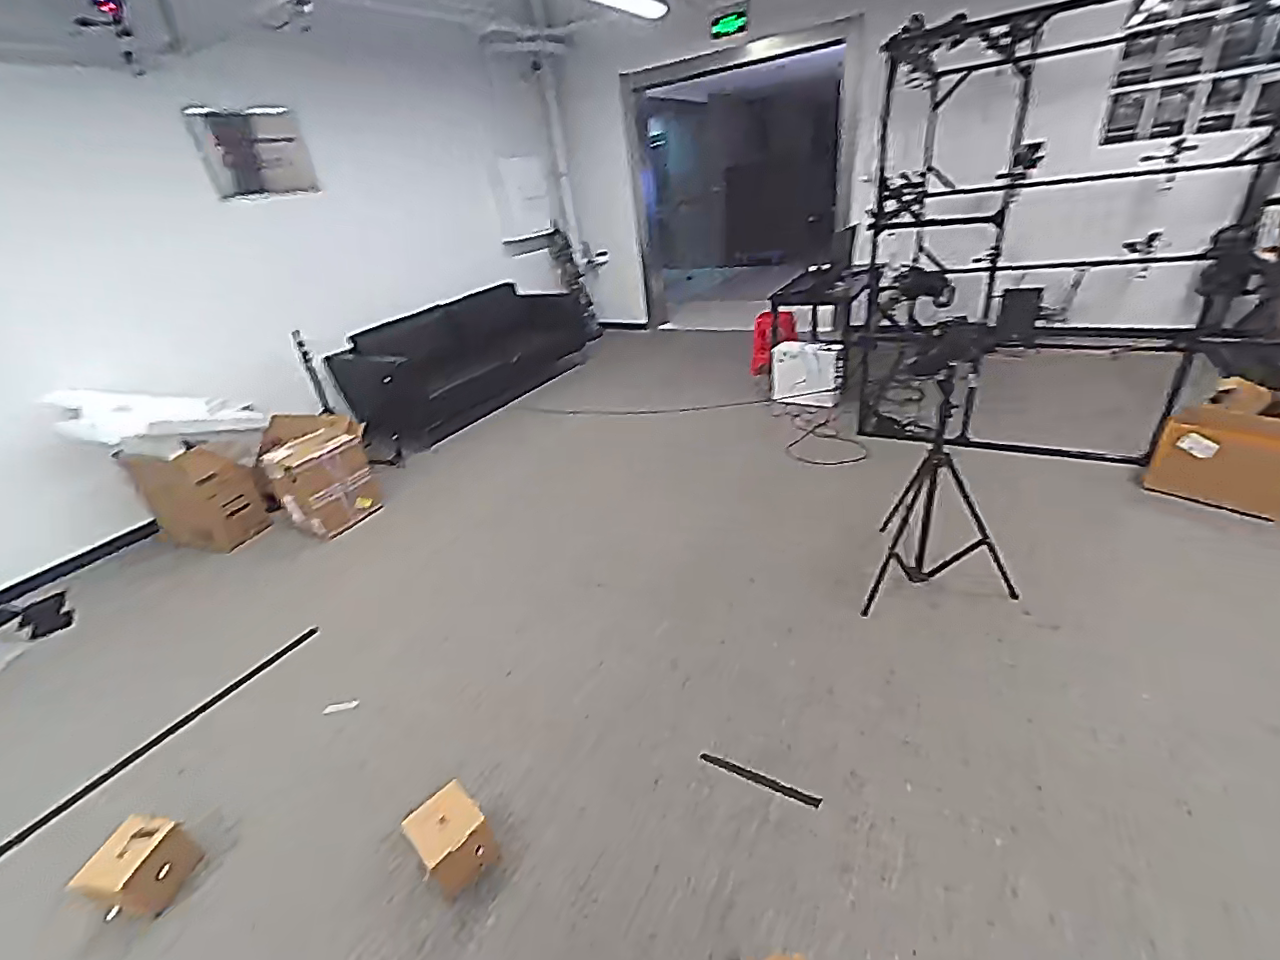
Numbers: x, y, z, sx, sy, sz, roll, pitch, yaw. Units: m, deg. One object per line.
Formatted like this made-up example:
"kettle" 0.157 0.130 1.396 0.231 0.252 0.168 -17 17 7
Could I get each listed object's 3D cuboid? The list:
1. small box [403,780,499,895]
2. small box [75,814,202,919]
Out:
"small box" -0.509 0.977 1.473 0.179 0.176 0.168 18 36 41
"small box" -1.376 1.071 1.504 0.168 0.176 0.179 -2 30 11
